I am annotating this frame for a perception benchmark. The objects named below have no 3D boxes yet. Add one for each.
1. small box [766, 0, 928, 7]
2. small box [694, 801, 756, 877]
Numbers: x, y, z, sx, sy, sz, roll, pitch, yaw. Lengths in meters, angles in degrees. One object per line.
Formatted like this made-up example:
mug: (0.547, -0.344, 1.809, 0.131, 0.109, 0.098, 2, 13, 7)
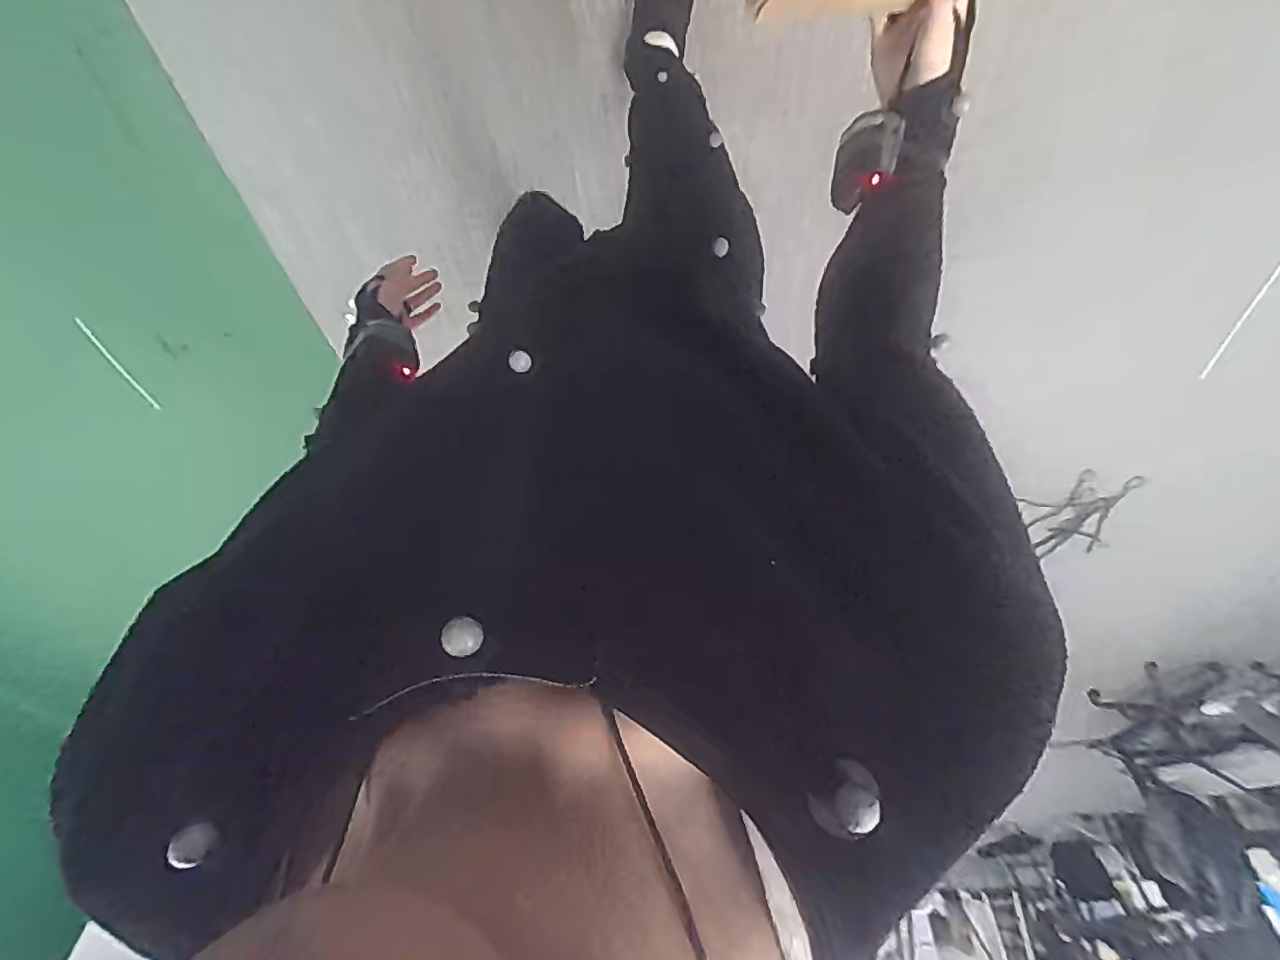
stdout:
small box: (0.163, -0.419, 0.302, 0.179, 0.168, 0.176, -21, 100, -19)
small box: (0.256, 1.083, 1.629, 0.168, 0.176, 0.179, -6, 136, 6)
